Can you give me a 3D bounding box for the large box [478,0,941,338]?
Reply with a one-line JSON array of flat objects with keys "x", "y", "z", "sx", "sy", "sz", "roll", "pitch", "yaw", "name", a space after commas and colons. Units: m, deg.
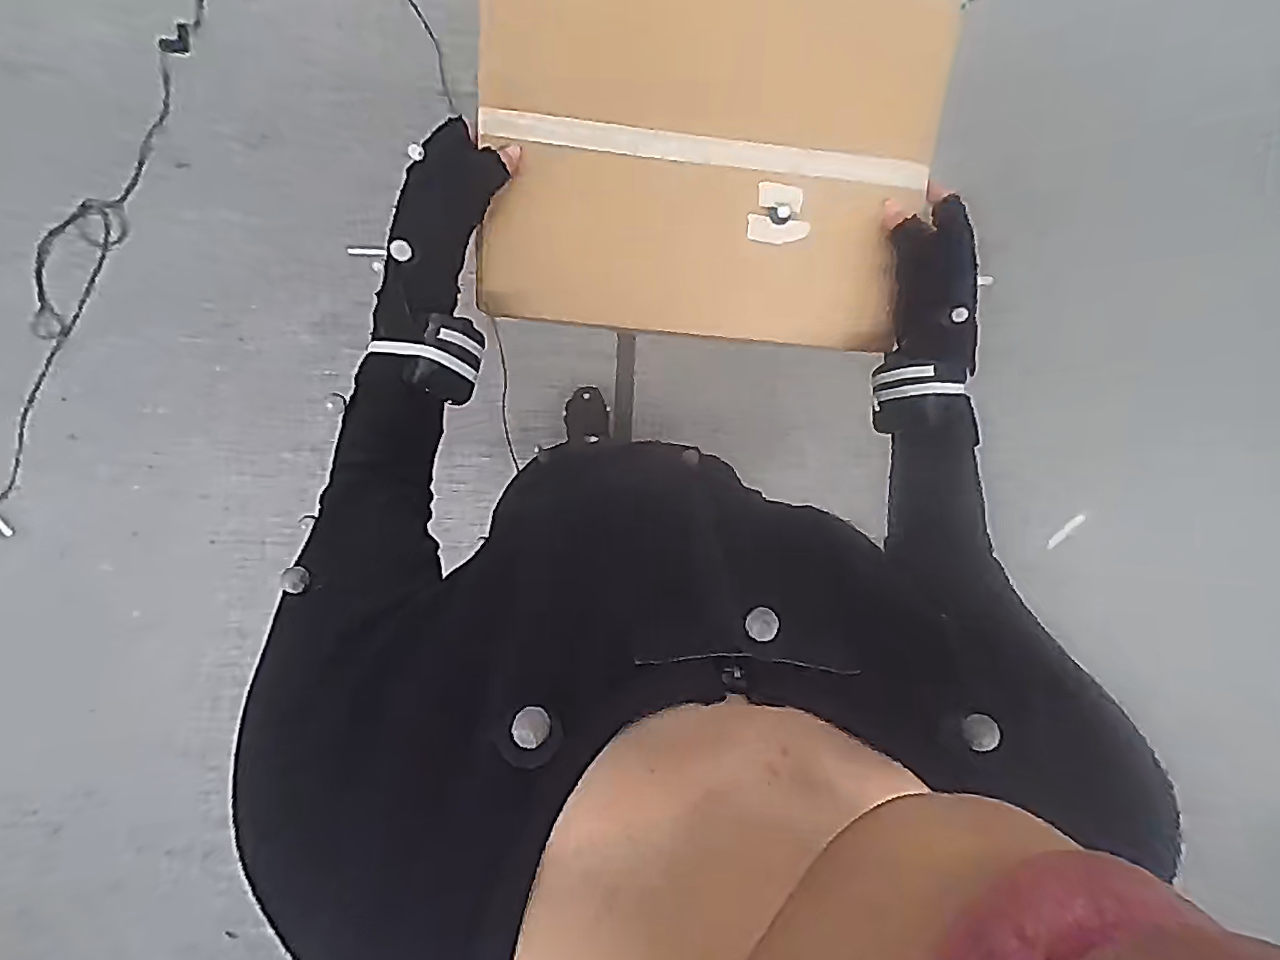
[{"x": 0.044, "y": -0.336, "z": 0.627, "sx": 0.408, "sy": 0.320, "sz": 0.320, "roll": 3, "pitch": 105, "yaw": -7, "name": "large box"}]
